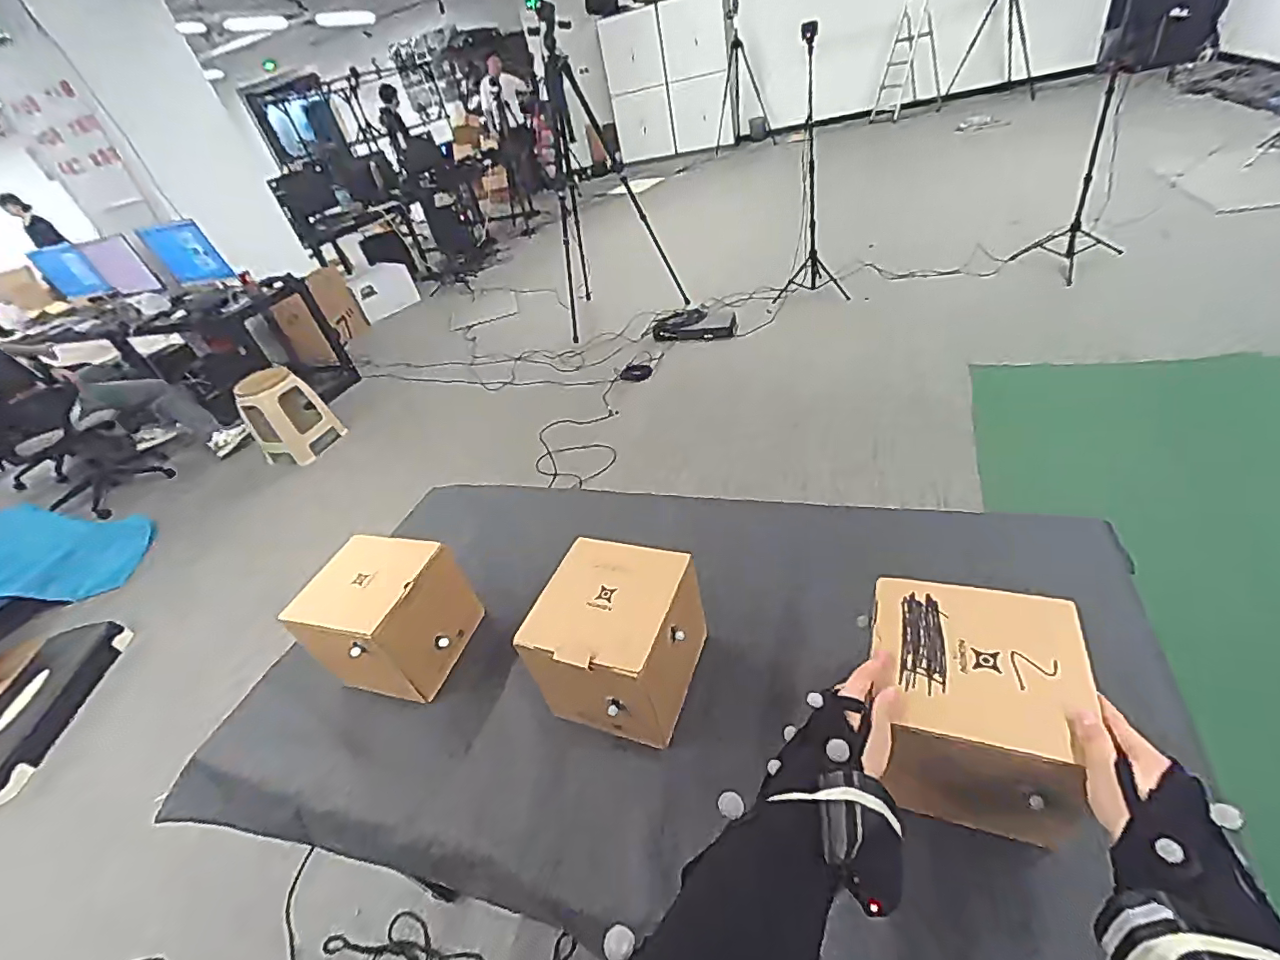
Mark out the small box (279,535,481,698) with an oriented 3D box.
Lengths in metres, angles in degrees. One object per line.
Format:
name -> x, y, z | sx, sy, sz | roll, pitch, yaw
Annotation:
small box -> -0.375, 0.203, 0.812 | 0.179, 0.176, 0.168 | 2, 40, 20

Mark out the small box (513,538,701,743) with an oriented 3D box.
small box -> -0.027, 0.202, 0.694 | 0.168, 0.176, 0.179 | 6, 41, 24
